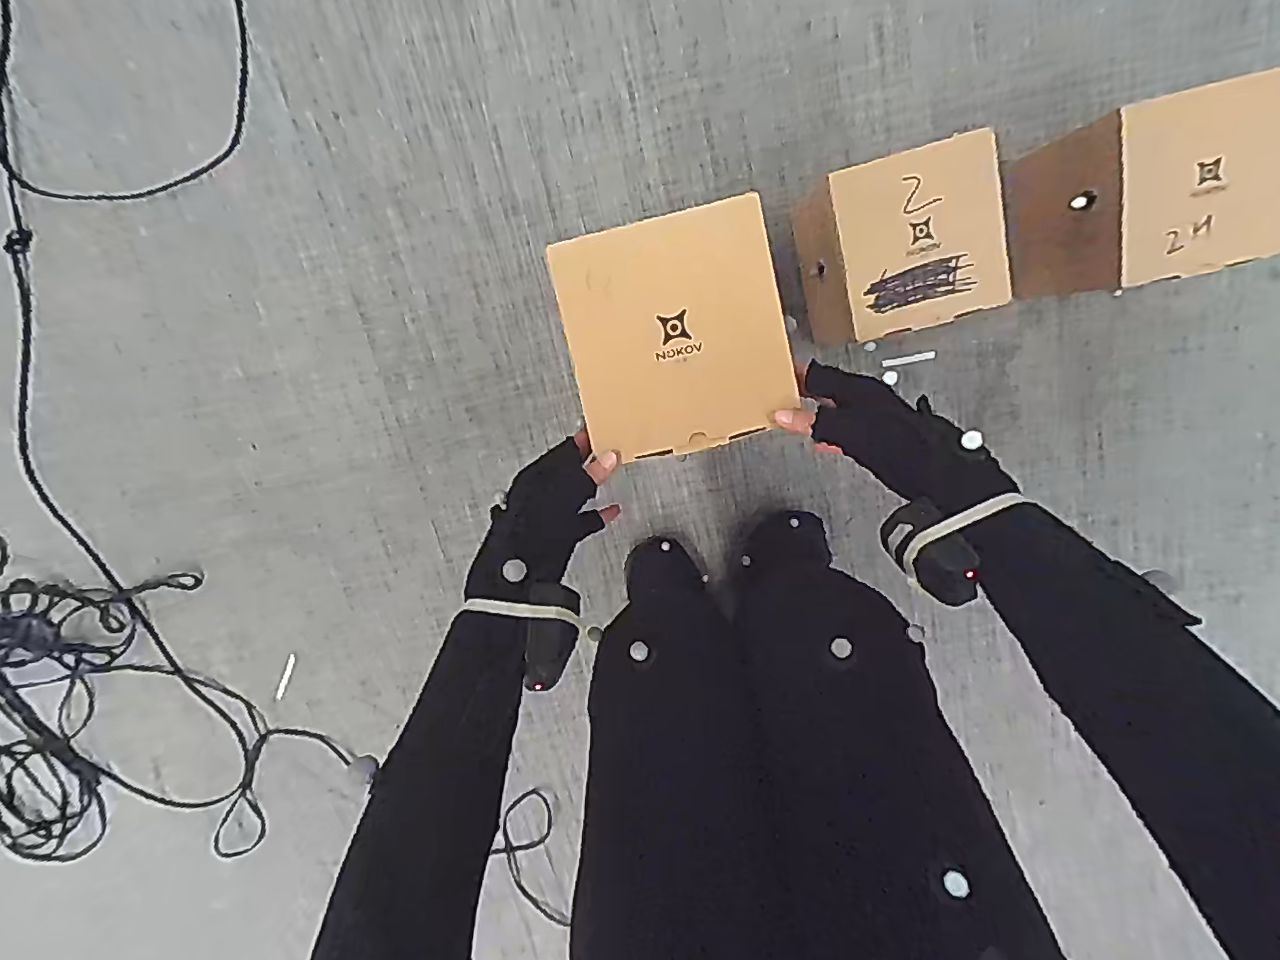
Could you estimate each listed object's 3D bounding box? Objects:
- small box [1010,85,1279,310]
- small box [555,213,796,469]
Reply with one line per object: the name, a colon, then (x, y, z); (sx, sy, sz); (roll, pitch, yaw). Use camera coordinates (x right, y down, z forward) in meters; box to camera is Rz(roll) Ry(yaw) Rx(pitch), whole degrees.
small box: (0.563, -0.306, 0.627); (0.168, 0.176, 0.179); (-11, 104, 6)
small box: (0.030, -0.113, 0.508); (0.168, 0.176, 0.179); (-13, 94, 4)
